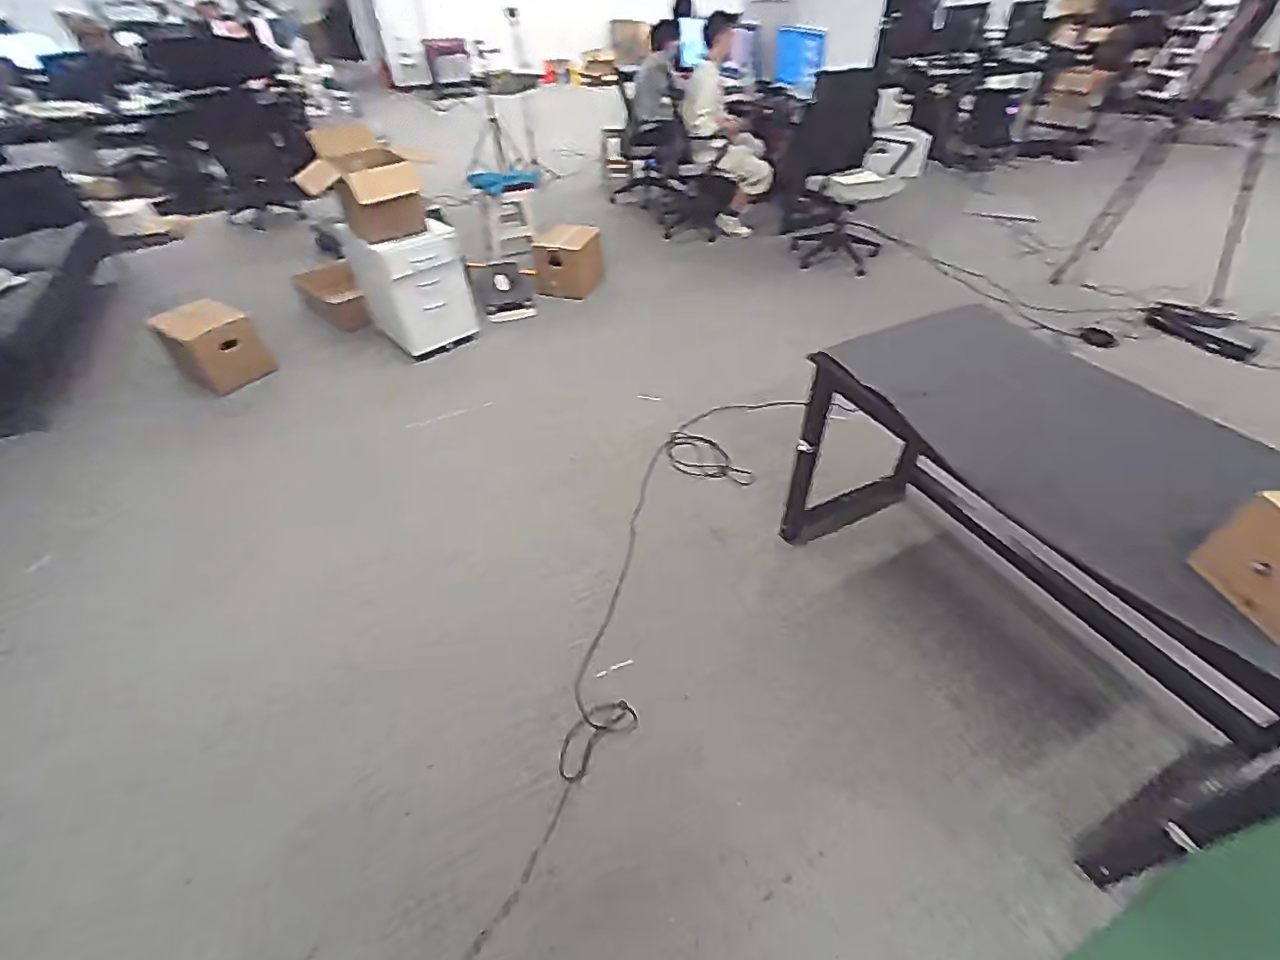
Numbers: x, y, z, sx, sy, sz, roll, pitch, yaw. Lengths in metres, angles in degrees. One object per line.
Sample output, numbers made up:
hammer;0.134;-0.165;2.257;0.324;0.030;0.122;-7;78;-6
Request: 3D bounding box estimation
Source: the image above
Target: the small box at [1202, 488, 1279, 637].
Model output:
small box;1.027;0.124;0.817;0.179;0.176;0.168;-3;42;-4
